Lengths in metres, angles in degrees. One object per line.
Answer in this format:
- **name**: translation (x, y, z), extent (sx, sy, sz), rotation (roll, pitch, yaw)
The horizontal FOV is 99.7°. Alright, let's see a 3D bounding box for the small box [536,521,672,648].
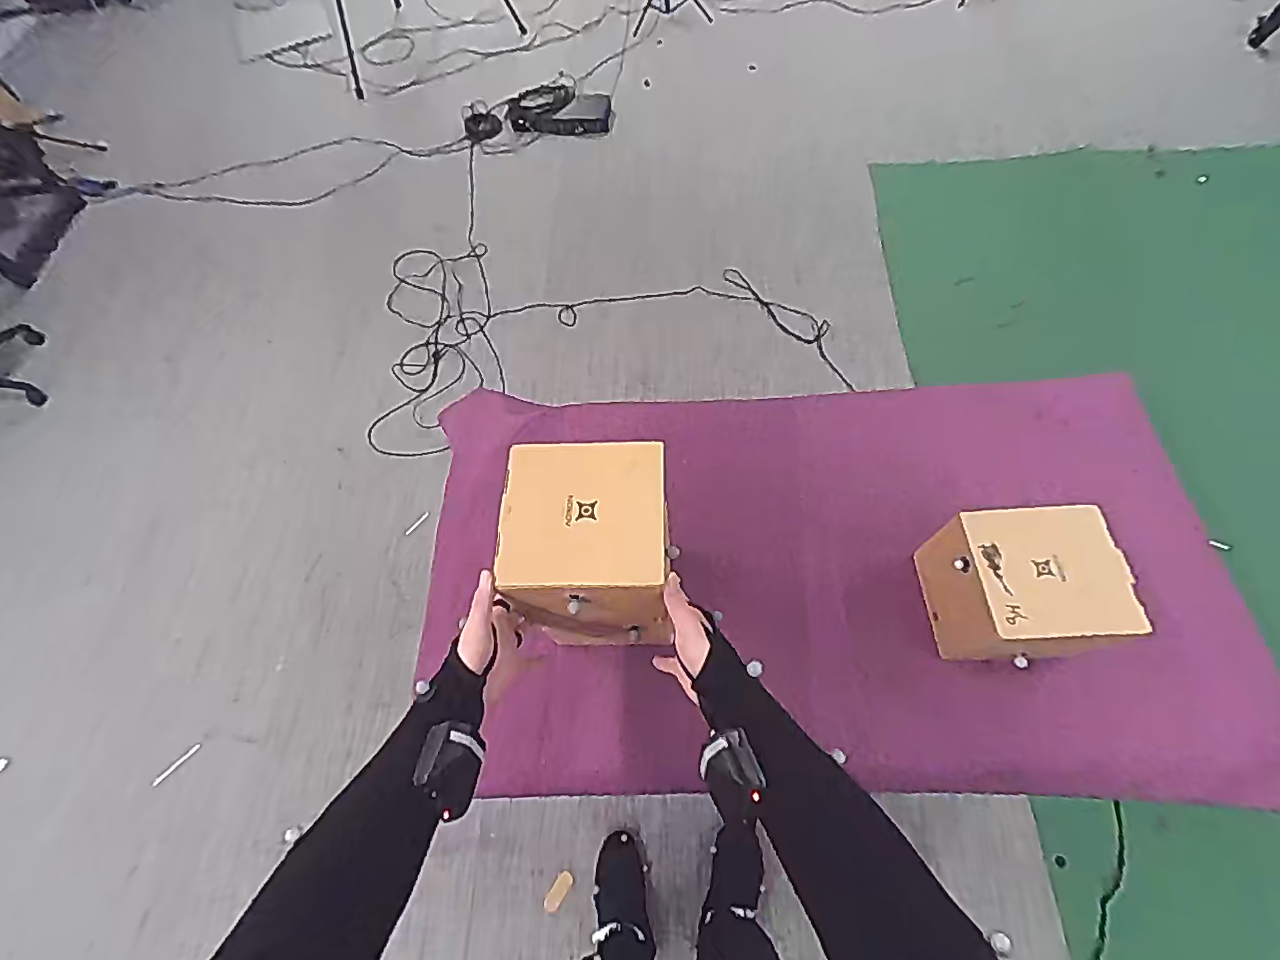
- **small box**: translation (-0.041, 0.147, 0.793), extent (0.179, 0.176, 0.168), rotation (-2, 63, 5)

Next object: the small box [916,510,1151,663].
- **small box**: translation (0.512, 0.150, 0.736), extent (0.179, 0.176, 0.168), rotation (-3, 62, 4)

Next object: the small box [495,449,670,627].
- **small box**: translation (-0.053, 0.076, 0.646), extent (0.179, 0.176, 0.168), rotation (-2, 63, 6)
